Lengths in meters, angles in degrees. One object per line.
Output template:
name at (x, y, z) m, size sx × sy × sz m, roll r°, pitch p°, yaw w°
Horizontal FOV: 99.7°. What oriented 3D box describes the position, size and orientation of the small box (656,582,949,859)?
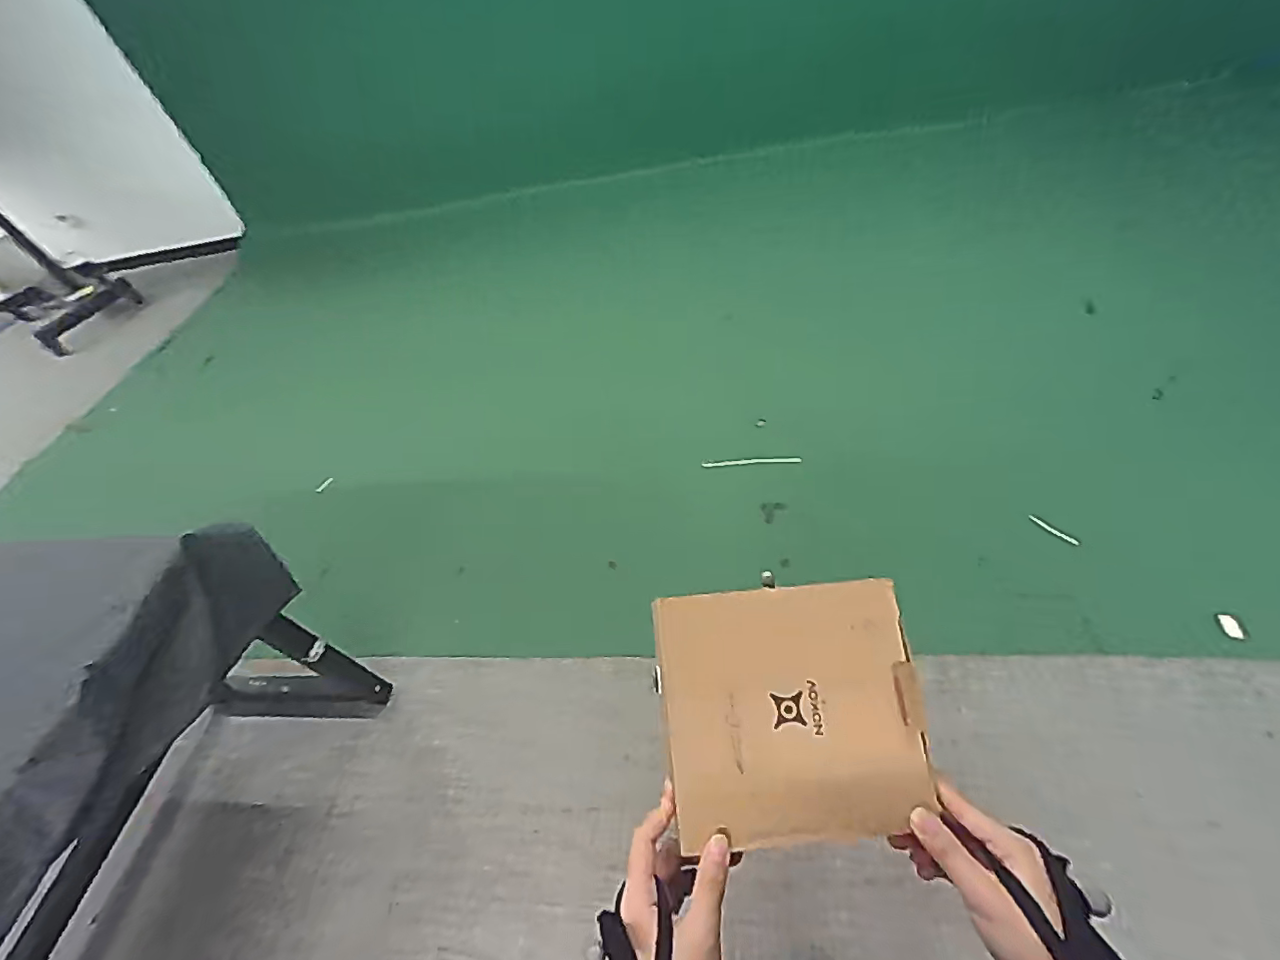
small box at (0.108, 0.179, 0.446) m, size 0.179 × 0.176 × 0.168 m, roll -6°, pitch 74°, yaw 0°
